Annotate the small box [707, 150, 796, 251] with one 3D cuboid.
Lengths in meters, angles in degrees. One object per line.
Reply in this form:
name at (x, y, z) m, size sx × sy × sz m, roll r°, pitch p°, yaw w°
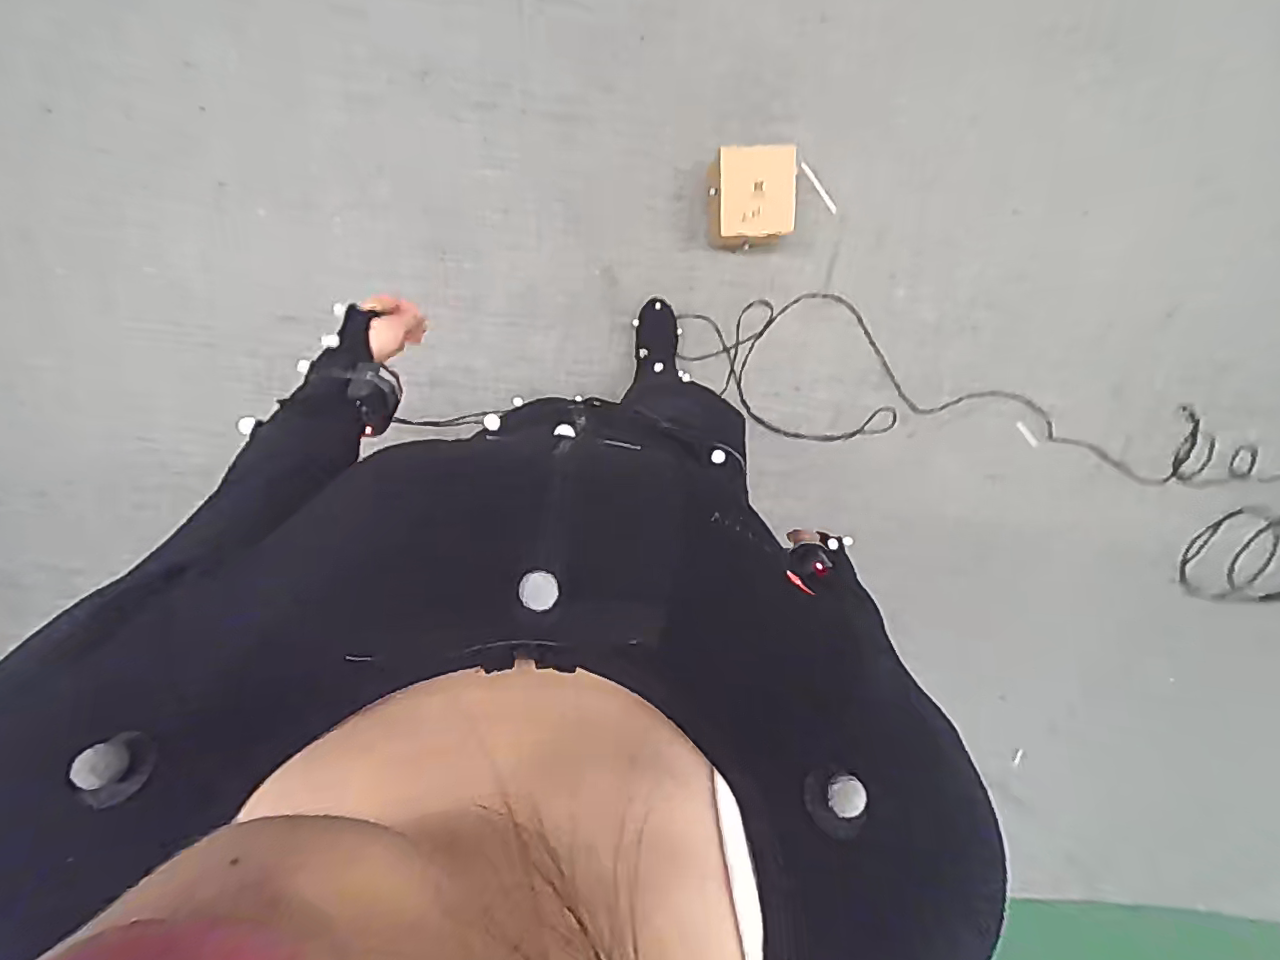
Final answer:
small box at (0.249, -0.633, 1.241) m, size 0.168 × 0.176 × 0.179 m, roll -3°, pitch 106°, yaw -2°
